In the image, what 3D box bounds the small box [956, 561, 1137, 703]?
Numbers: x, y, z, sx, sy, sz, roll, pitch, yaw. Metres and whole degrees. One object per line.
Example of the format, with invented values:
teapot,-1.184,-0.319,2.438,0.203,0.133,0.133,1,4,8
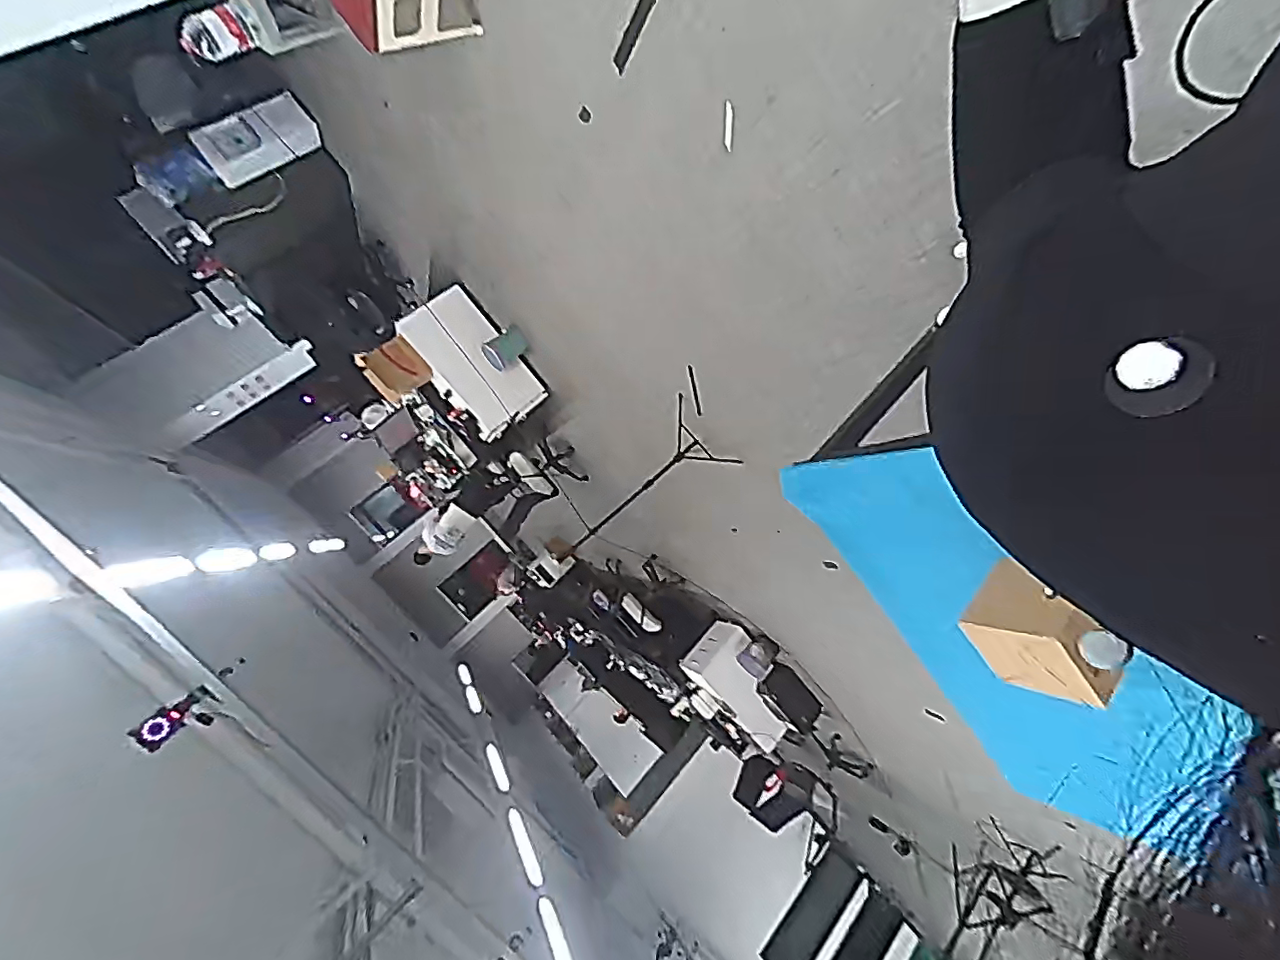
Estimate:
small box,0.717,0.265,0.965,0.168,0.176,0.179,51,160,-10
